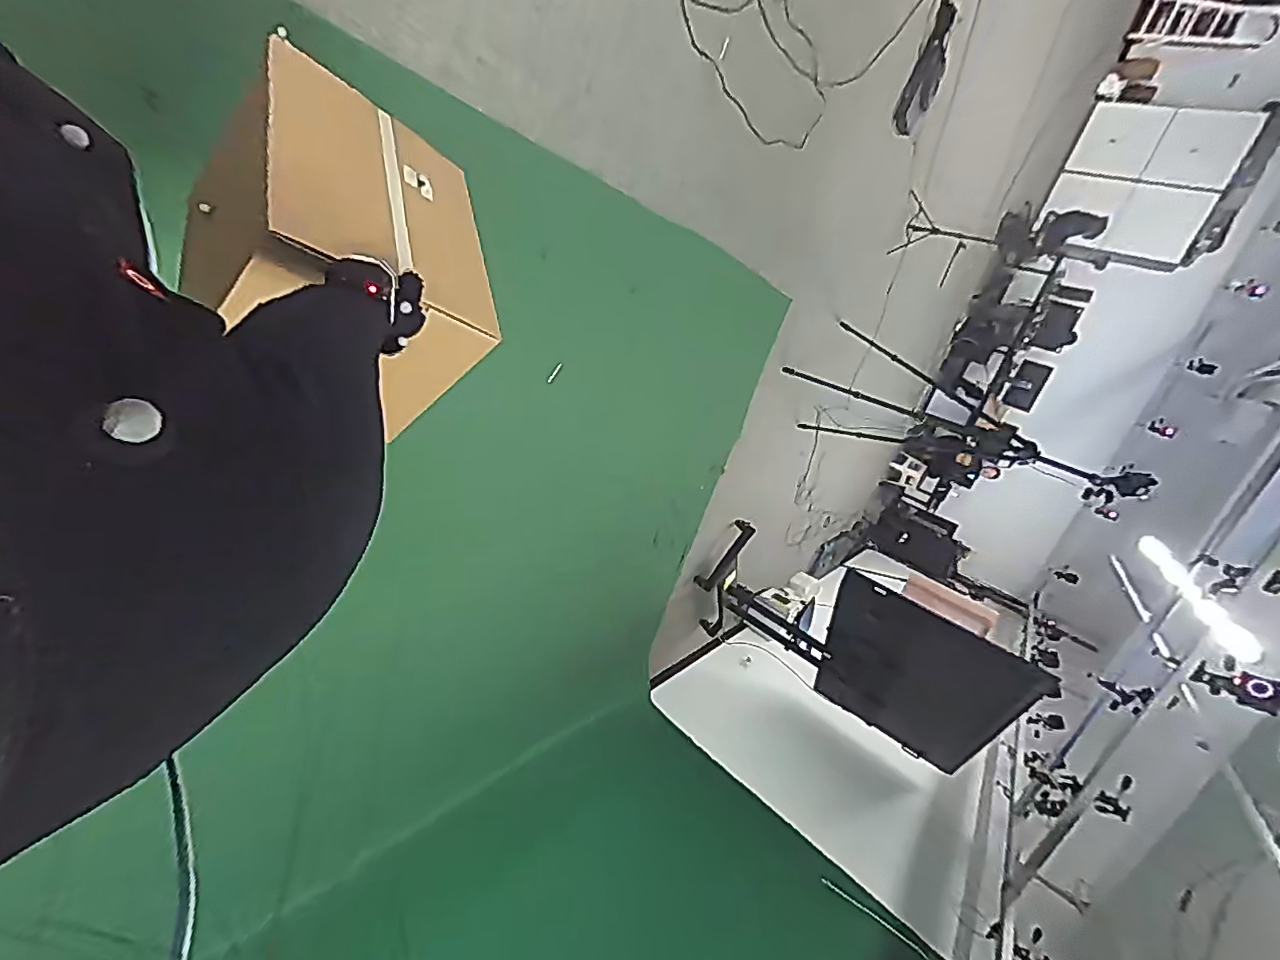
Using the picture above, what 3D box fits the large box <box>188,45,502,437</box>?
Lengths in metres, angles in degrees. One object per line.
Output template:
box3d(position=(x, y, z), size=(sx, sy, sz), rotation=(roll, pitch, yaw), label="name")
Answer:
box3d(position=(-0.469, -0.334, 0.852), size=(0.320, 0.408, 0.320), rotation=(-32, 152, 27), label="large box")
